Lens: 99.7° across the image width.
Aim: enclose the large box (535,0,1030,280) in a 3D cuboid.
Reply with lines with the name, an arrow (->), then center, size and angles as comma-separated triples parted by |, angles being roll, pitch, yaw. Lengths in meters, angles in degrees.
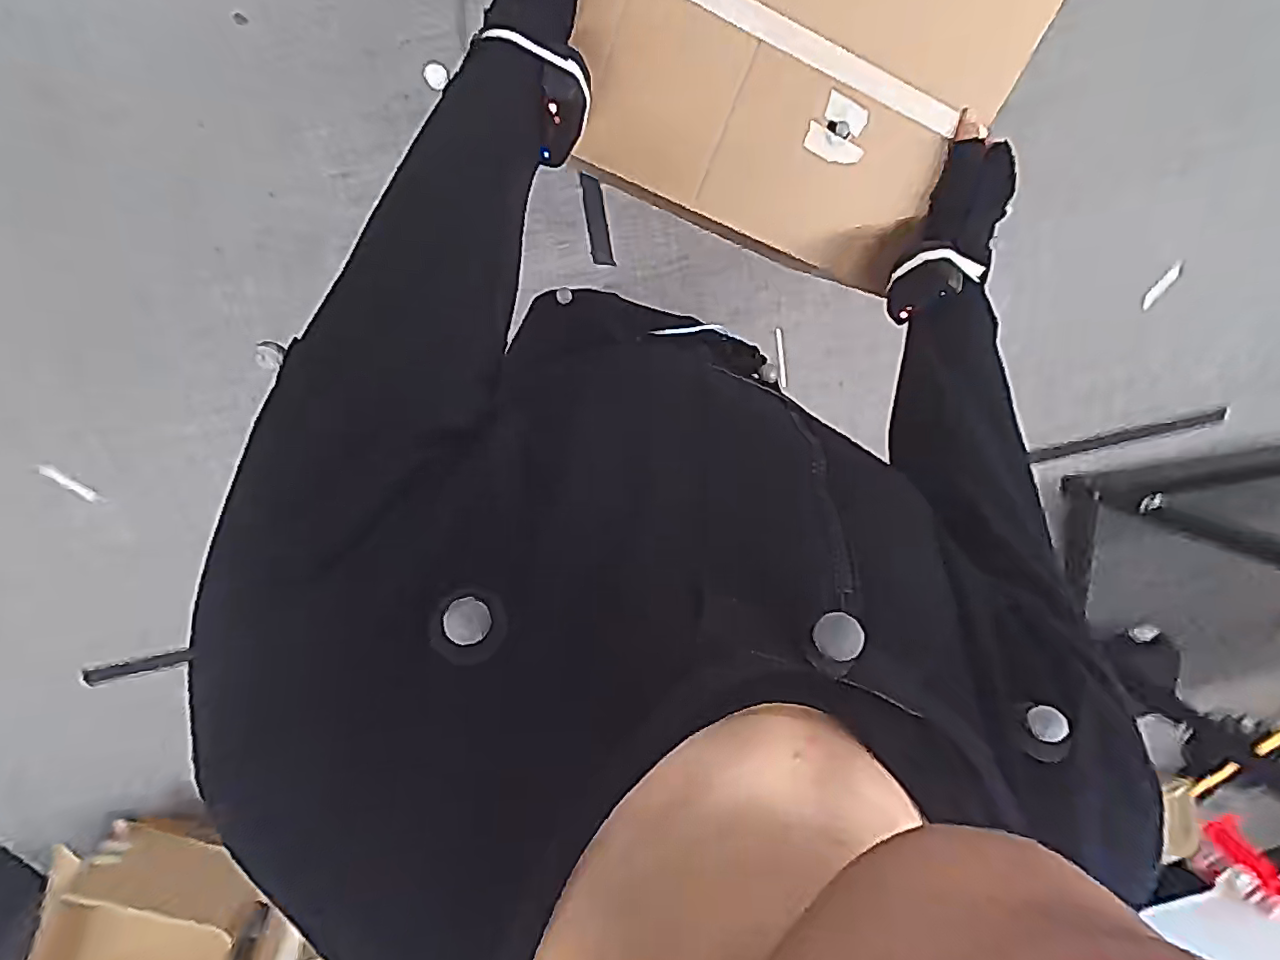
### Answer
large box -> 0.121, -0.468, 0.625 | 0.408, 0.320, 0.320 | 16, 116, -13
